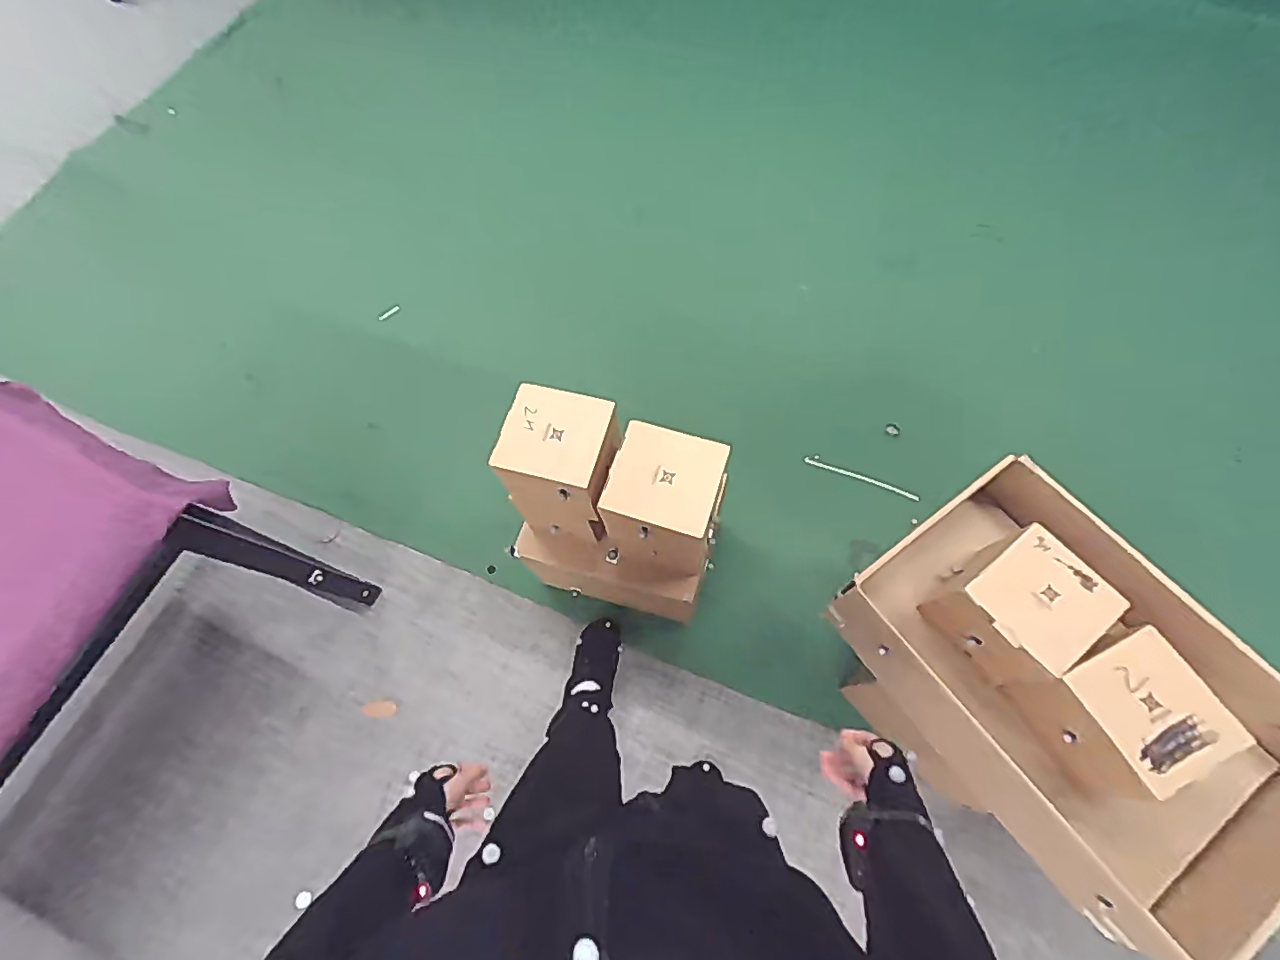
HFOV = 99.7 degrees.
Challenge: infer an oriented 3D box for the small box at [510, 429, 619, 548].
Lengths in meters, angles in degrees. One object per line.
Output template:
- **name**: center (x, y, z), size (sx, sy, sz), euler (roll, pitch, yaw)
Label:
- **small box**: center (-0.147, 0.023, 1.134), size (0.168, 0.176, 0.179), euler (14, 68, 10)

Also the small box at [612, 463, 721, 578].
- **small box**: center (0.058, 0.088, 1.090), size (0.179, 0.176, 0.168), euler (13, 68, 9)
